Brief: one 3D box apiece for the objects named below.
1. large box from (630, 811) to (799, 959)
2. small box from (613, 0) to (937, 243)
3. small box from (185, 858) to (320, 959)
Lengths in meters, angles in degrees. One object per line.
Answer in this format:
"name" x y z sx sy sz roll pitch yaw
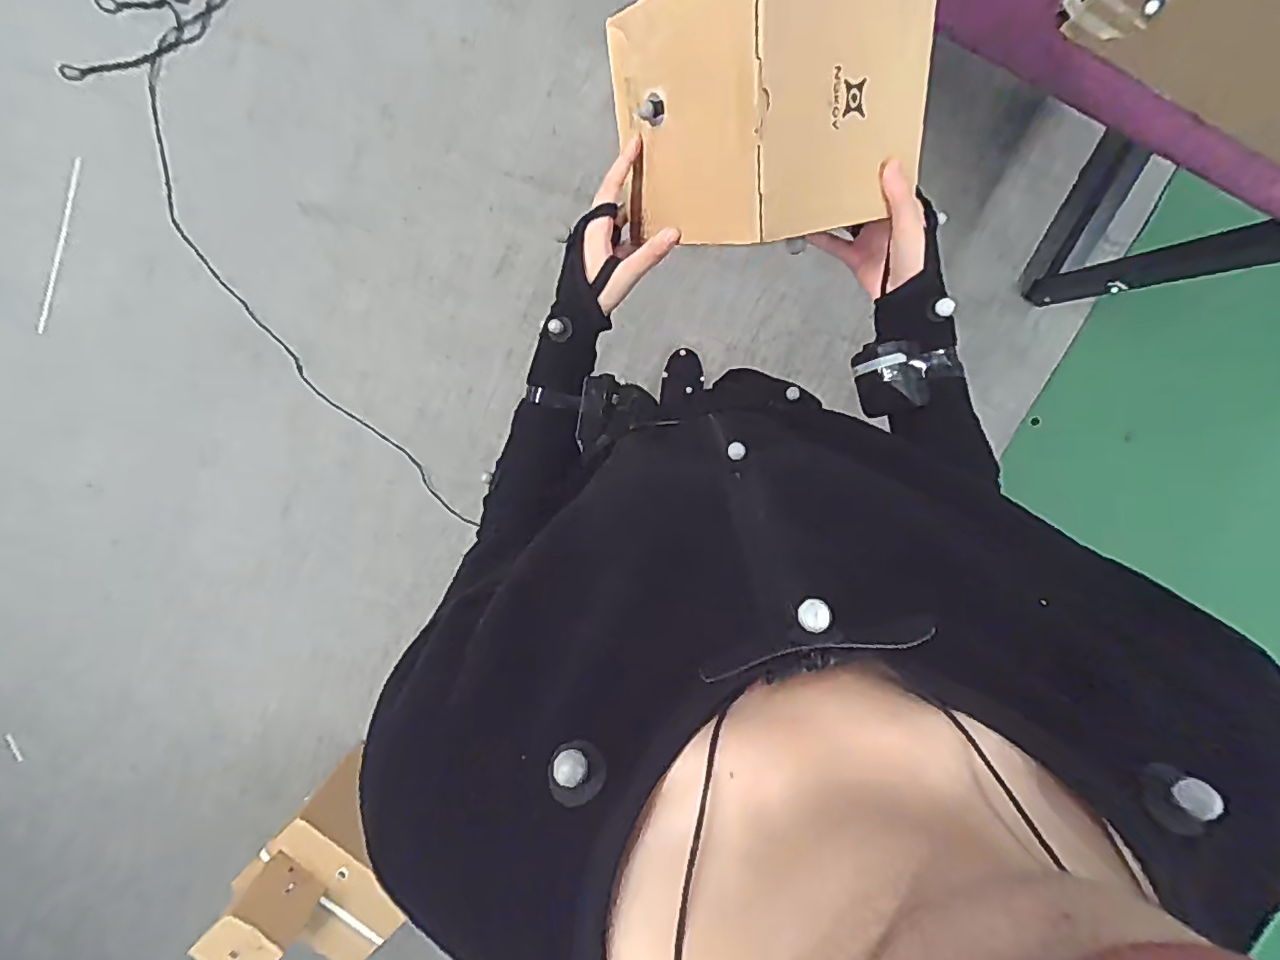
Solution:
"large box" 0.193 1.236 1.577 0.408 0.320 0.320 12 101 -2
"small box" 0.101 -0.292 0.434 0.179 0.176 0.168 -22 121 -25
"small box" -0.937 1.090 1.326 0.168 0.176 0.179 44 100 -7
